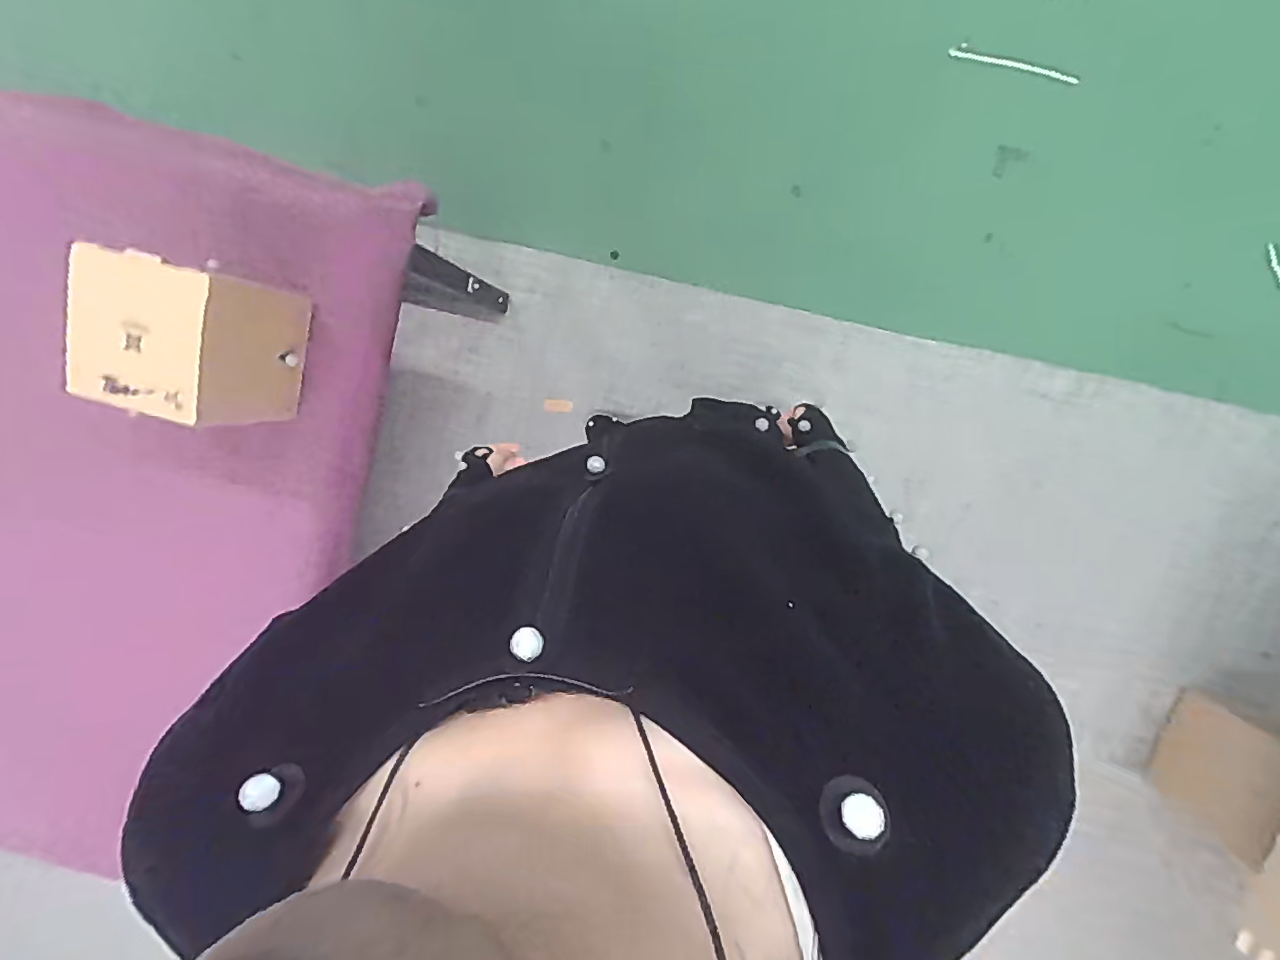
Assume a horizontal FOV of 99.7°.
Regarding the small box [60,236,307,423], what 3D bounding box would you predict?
[{"bbox_3d":[-0.563,-0.179,0.688,0.168,0.176,0.179,16,99,4],"label":"small box"}]
